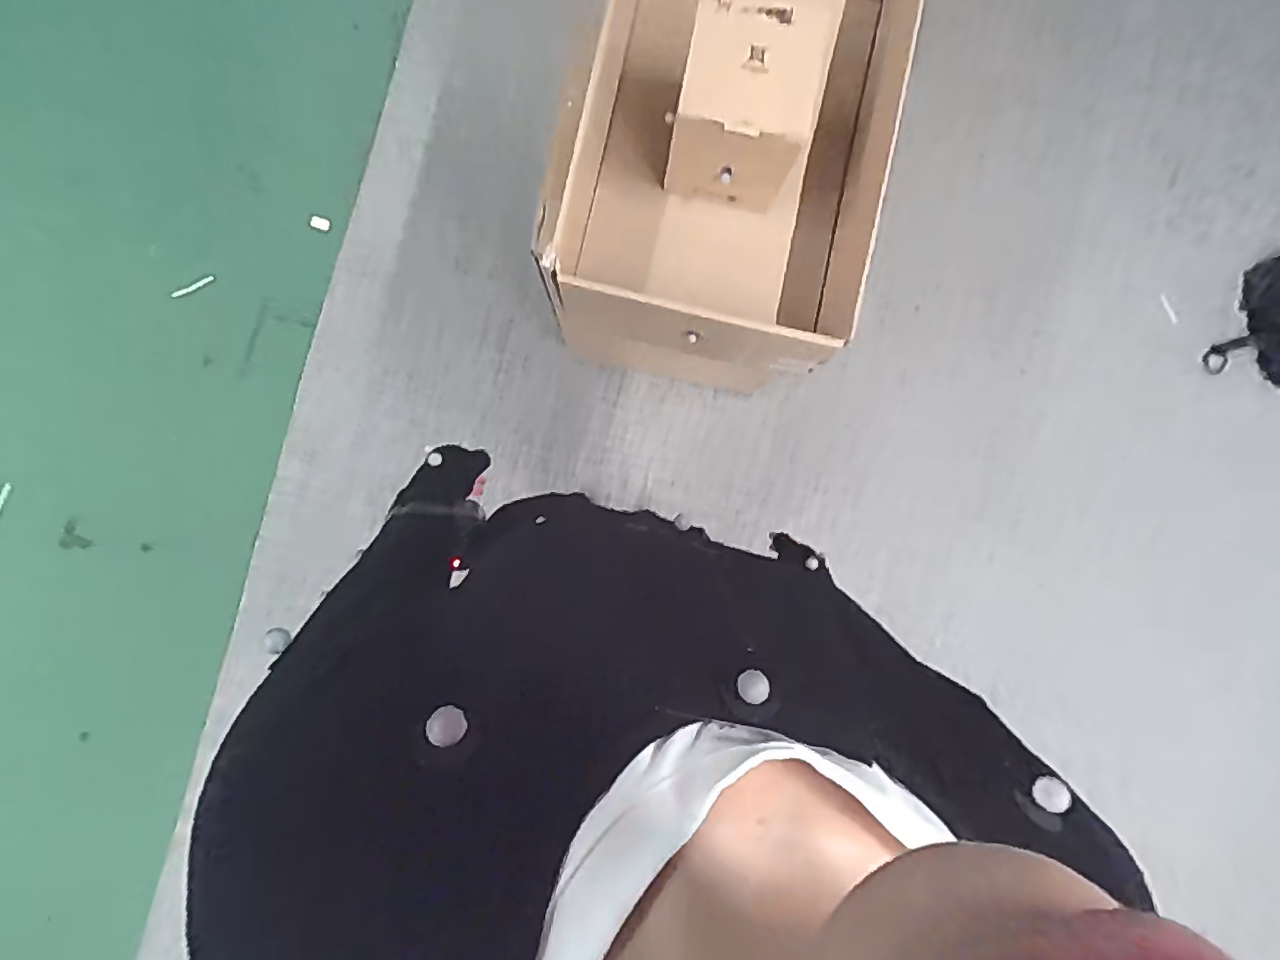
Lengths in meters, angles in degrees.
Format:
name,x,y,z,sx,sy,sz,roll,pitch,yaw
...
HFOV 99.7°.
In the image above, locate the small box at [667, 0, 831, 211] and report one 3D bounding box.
name,x,y,z,sx,sy,sz,roll,pitch,yaw
small box,0.136,-0.505,0.742,0.168,0.176,0.179,12,87,-2
